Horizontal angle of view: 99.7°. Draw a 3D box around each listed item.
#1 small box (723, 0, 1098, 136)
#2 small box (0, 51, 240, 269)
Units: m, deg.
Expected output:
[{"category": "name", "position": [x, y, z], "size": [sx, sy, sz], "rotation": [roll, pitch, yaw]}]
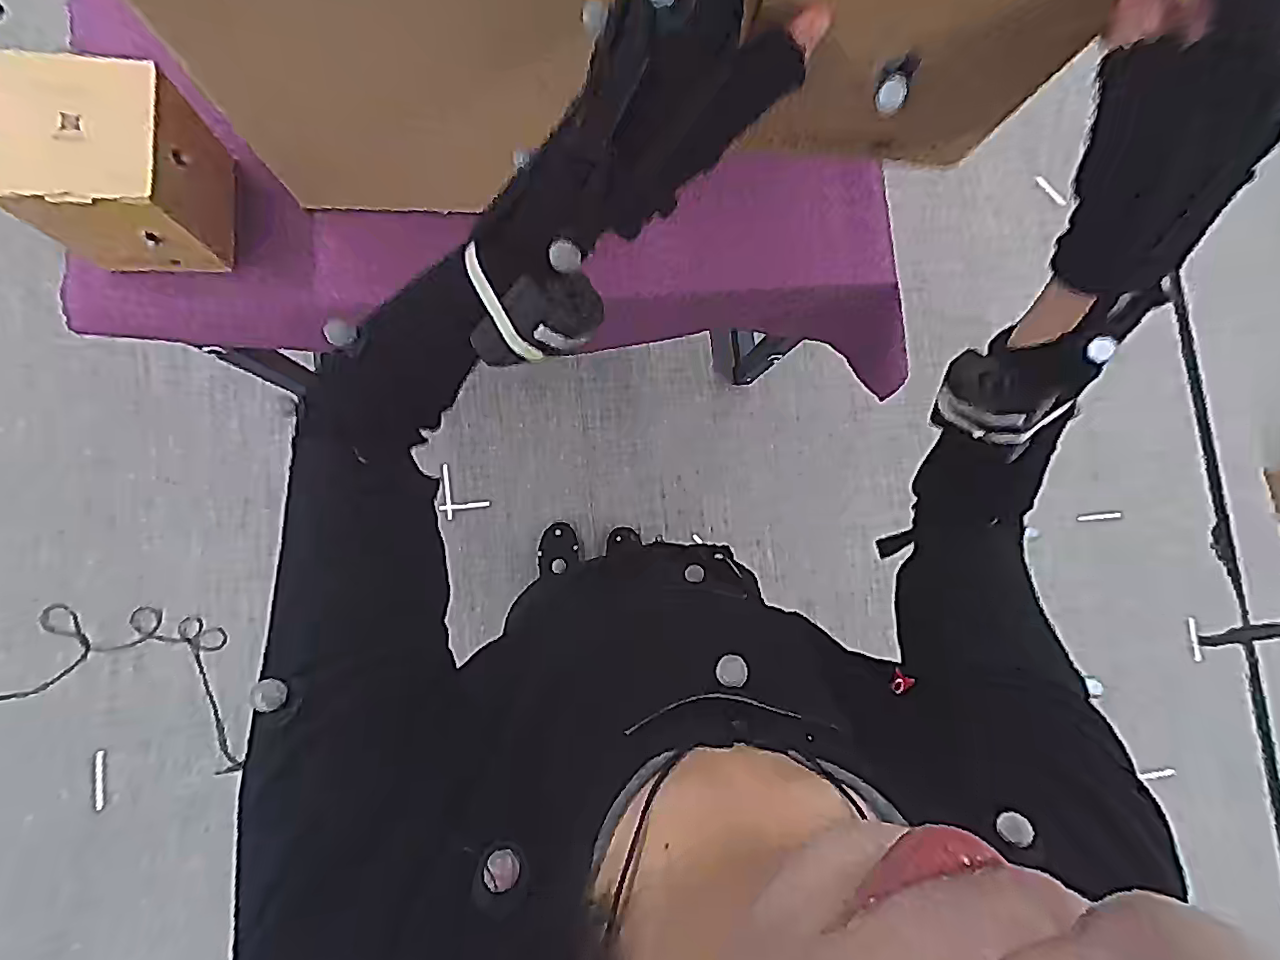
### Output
[{"category": "small box", "position": [0.139, -0.303, 0.262], "size": [0.168, 0.176, 0.179], "rotation": [2, 91, -3]}, {"category": "small box", "position": [-0.641, -0.387, 0.685], "size": [0.168, 0.176, 0.179], "rotation": [-3, 83, -10]}]
